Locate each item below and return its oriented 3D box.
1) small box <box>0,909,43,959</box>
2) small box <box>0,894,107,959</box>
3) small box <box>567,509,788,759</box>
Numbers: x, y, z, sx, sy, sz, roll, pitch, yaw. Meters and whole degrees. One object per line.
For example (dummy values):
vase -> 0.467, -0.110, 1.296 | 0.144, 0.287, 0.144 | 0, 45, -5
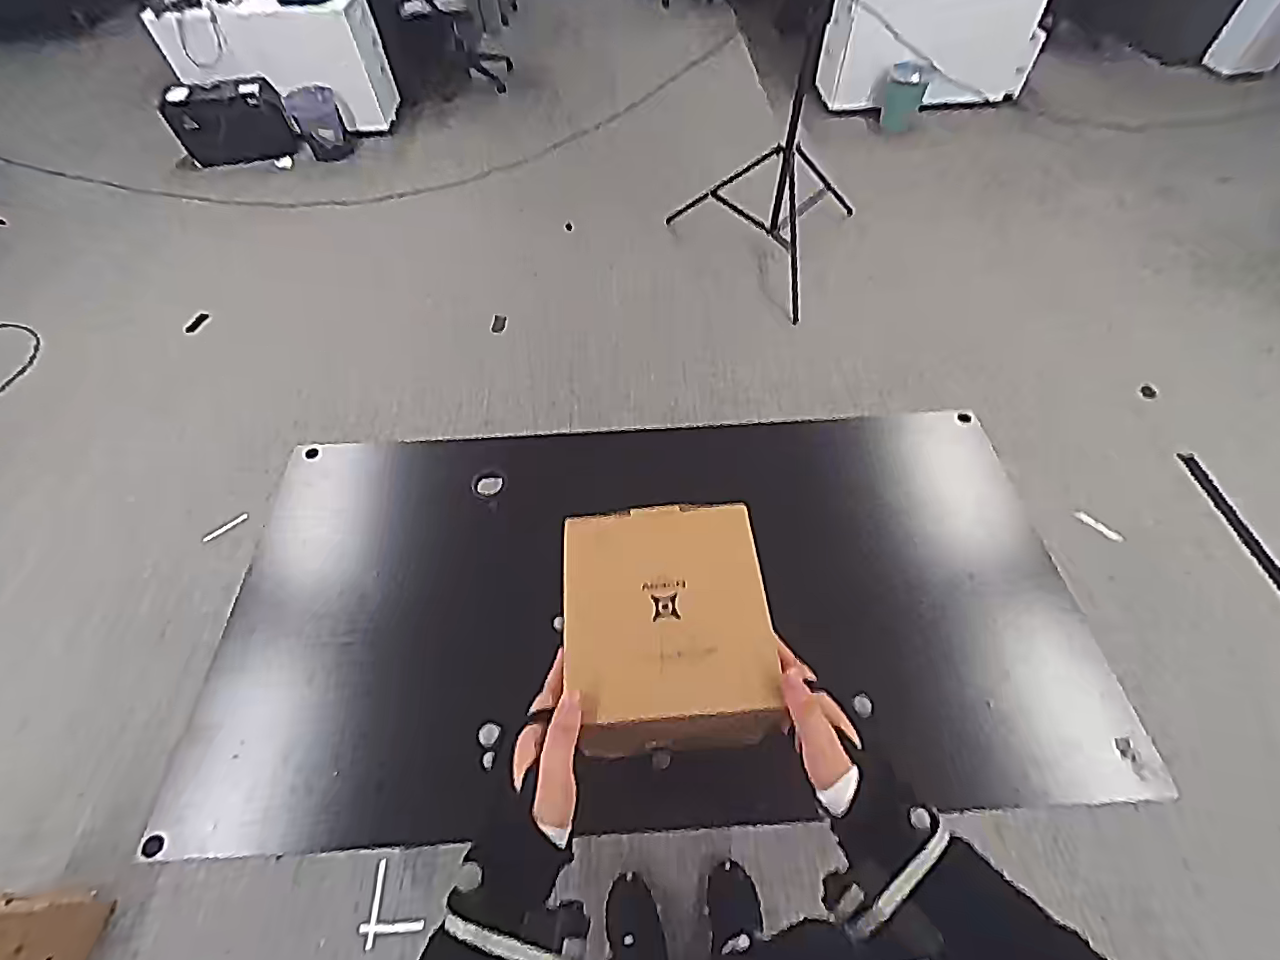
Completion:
small box -> -1.229, 0.851, 0.935 | 0.179, 0.176, 0.168 | 1, 54, 3
small box -> -1.236, 0.942, 1.073 | 0.168, 0.176, 0.179 | 4, 56, 5
small box -> 0.024, 0.149, 0.508 | 0.168, 0.176, 0.179 | -5, 56, -1
